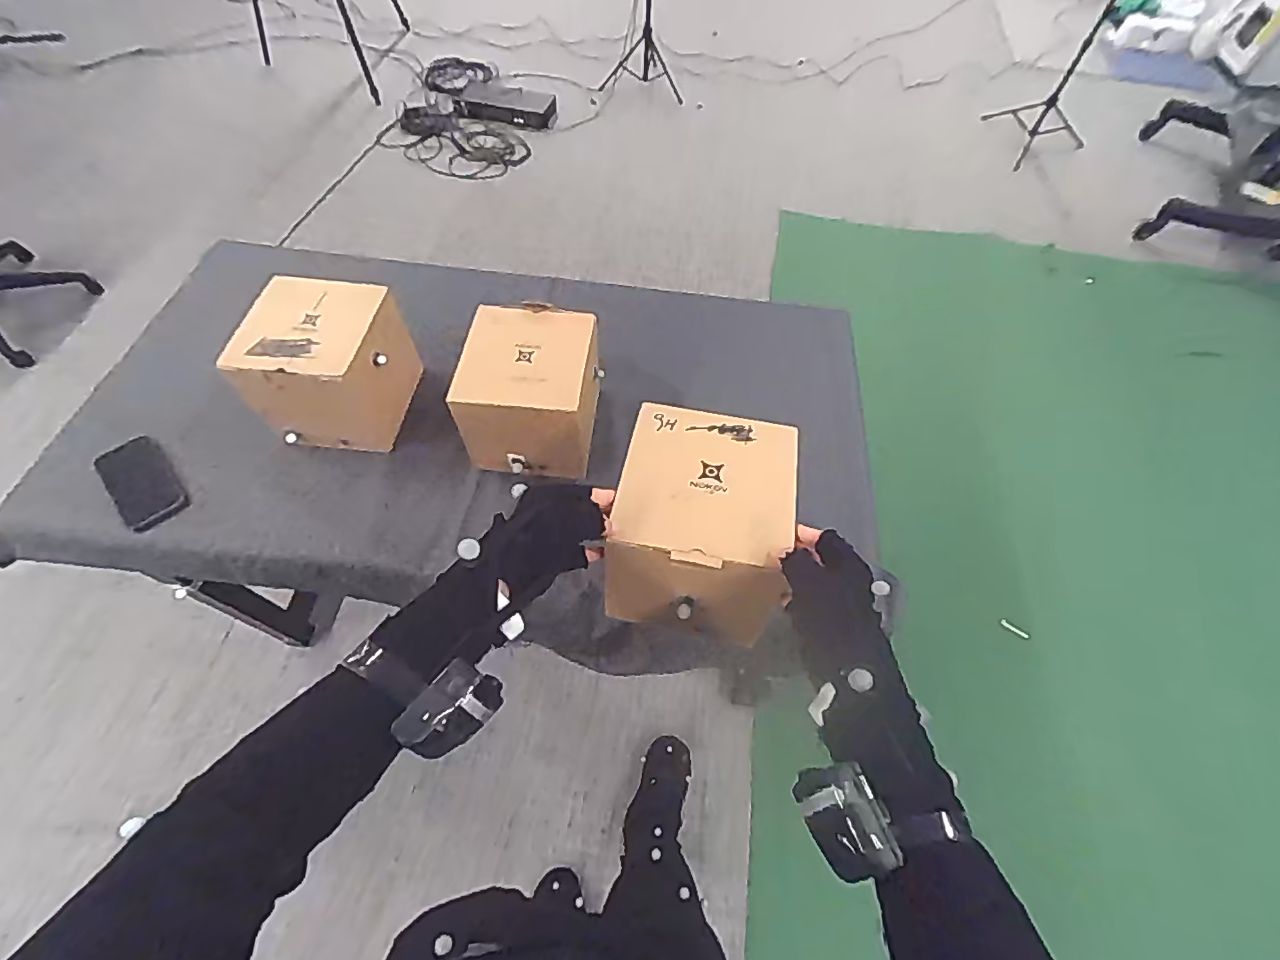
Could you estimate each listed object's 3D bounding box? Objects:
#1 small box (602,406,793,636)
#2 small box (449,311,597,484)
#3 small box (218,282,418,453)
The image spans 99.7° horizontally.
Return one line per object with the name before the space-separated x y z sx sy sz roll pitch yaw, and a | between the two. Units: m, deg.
small box | 0.061 0.050 0.585 0.168 0.176 0.179 10 54 5
small box | -0.153 -0.116 0.782 0.168 0.176 0.179 4 59 1
small box | -0.446 -0.158 0.788 0.168 0.176 0.179 6 57 0
